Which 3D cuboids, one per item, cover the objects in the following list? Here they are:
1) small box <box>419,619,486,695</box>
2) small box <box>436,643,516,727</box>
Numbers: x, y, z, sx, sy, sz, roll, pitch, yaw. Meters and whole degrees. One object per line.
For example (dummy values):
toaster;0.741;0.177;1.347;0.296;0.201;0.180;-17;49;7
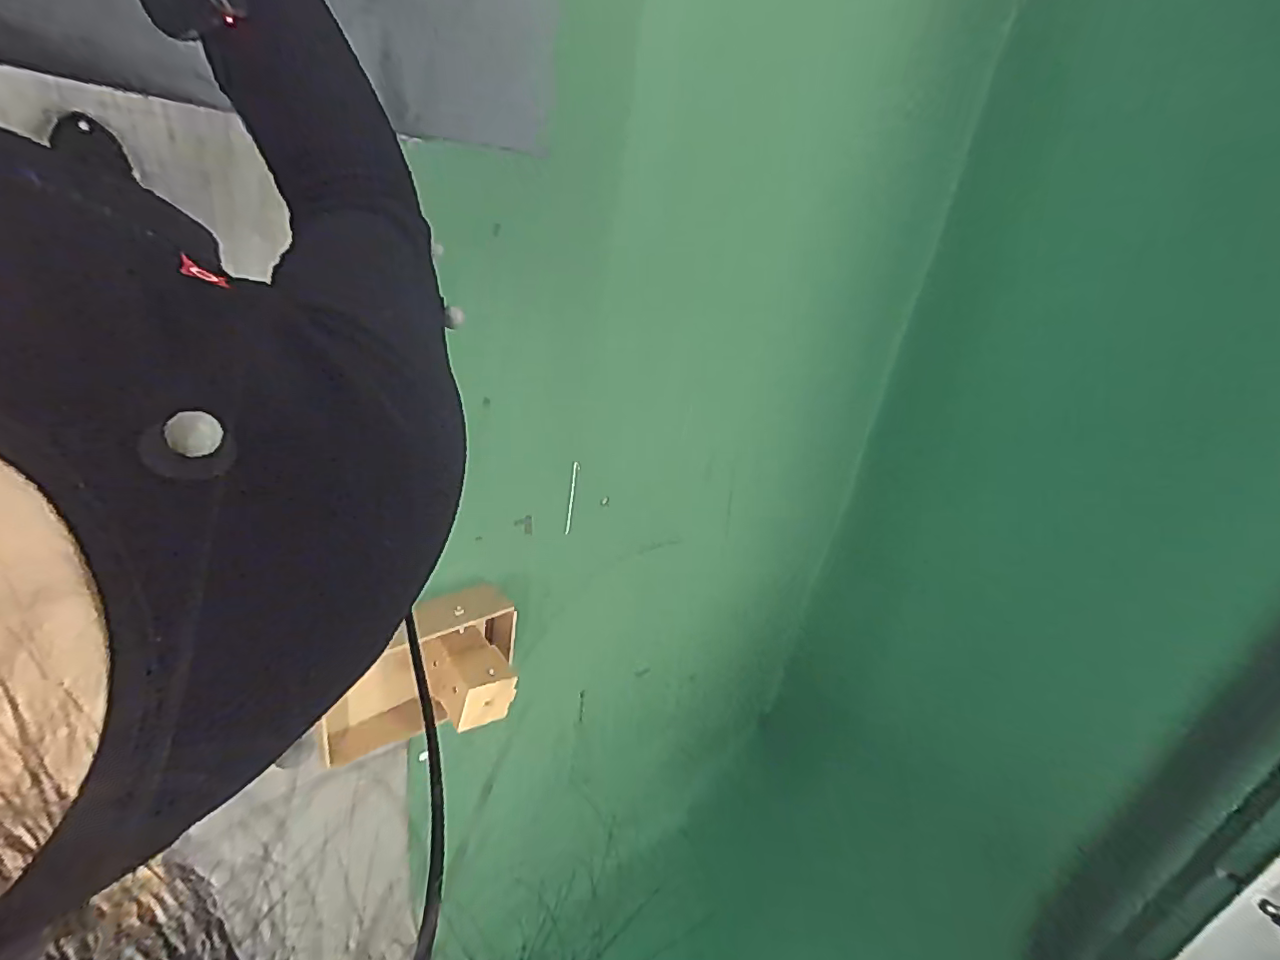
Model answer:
small box;-0.643;0.606;1.867;0.168;0.176;0.179;7;109;-47
small box;-0.537;0.655;1.752;0.179;0.176;0.168;0;115;-46
